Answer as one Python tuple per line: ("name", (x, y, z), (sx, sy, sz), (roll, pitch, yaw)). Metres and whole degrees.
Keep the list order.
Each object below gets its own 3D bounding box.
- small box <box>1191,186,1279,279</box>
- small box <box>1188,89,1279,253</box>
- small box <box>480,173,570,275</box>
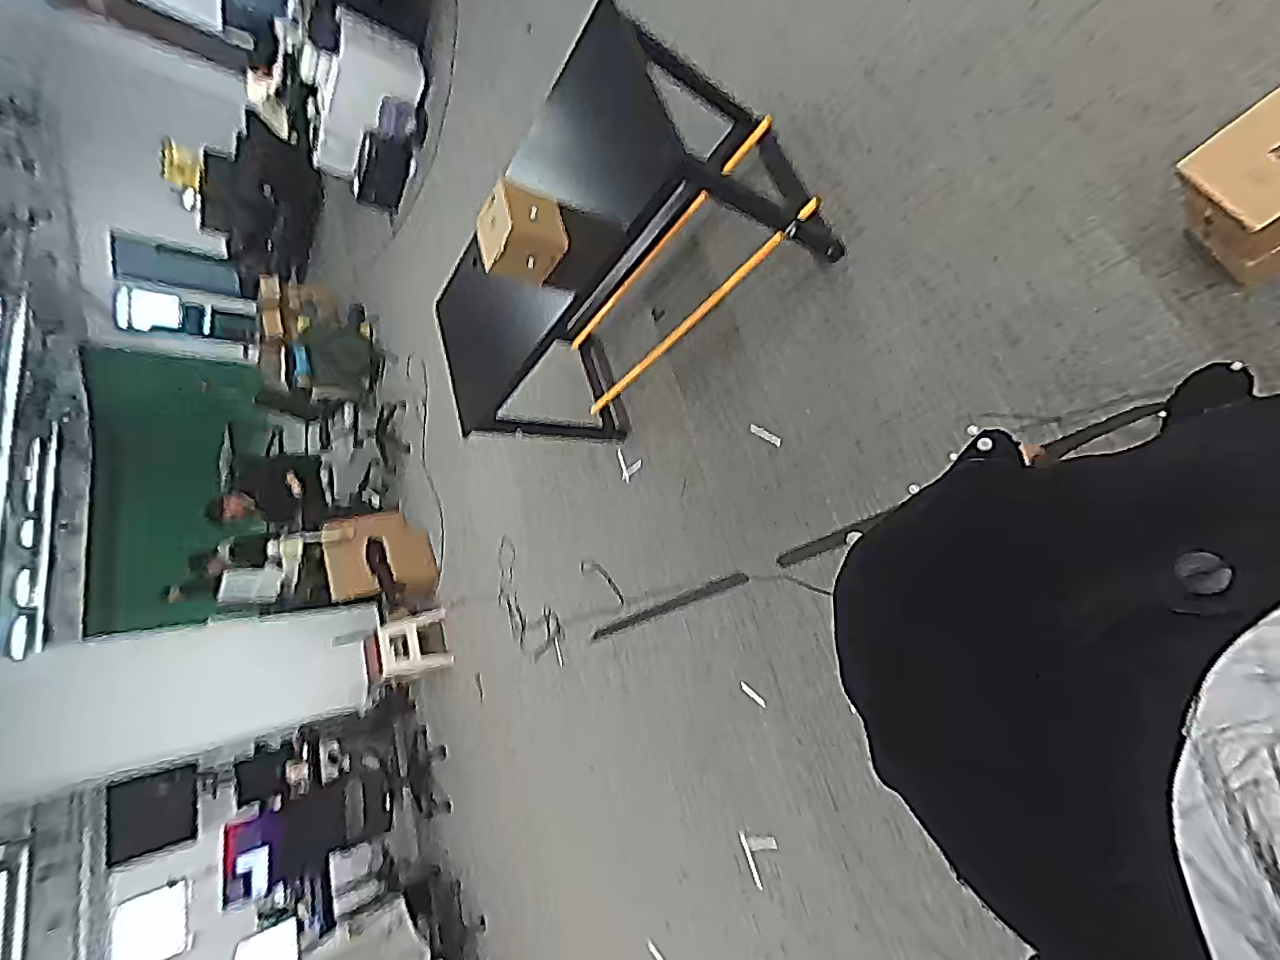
("small box", (1.122, -0.482, 0.944), (0.168, 0.176, 0.179), (-39, 62, 41))
("small box", (1.007, -0.487, 0.828), (0.179, 0.176, 0.168), (-44, 57, 41))
("small box", (-0.309, -0.679, 1.463), (0.168, 0.176, 0.179), (-34, 65, 43))
